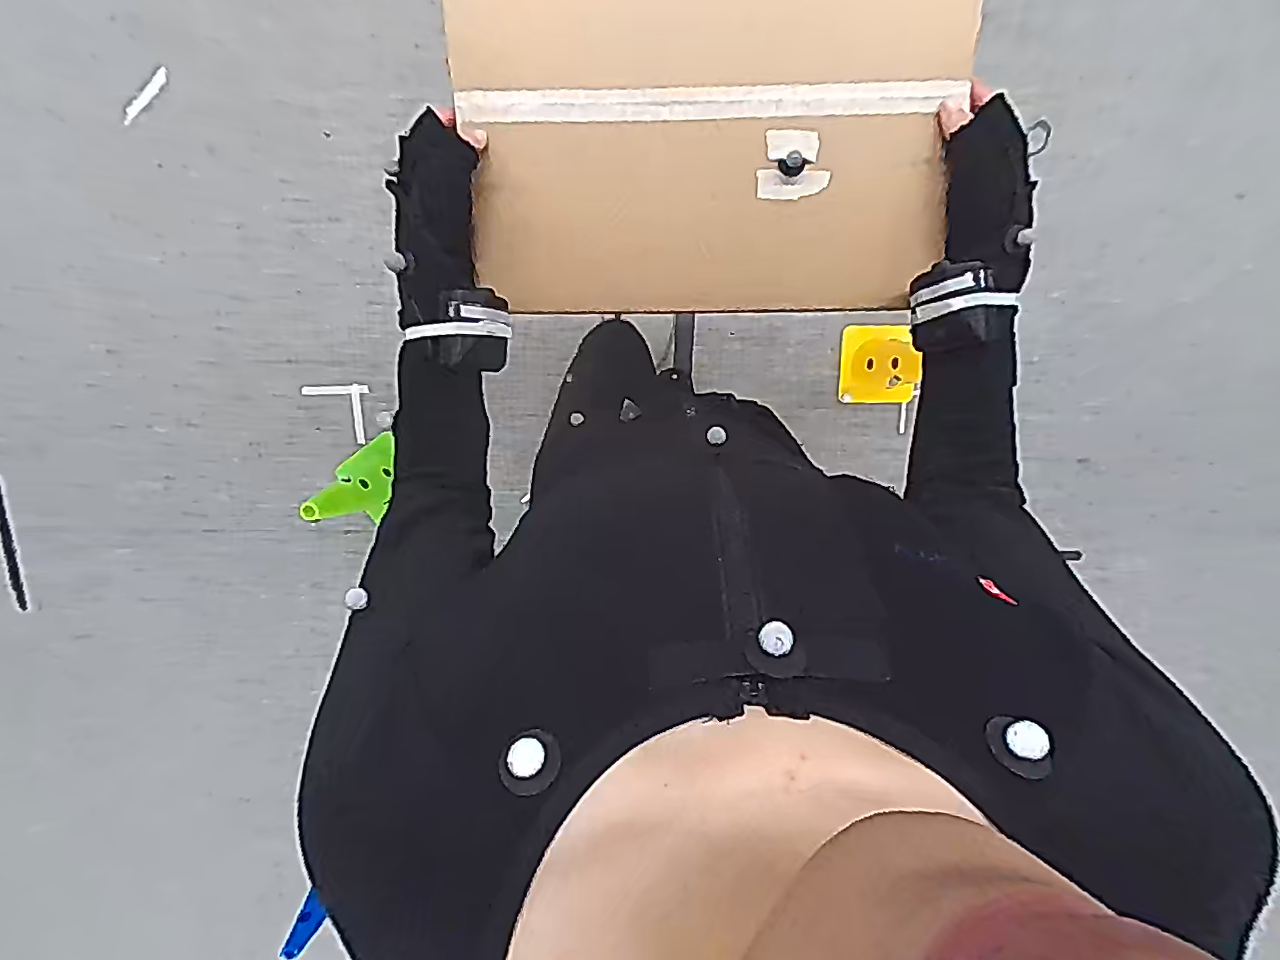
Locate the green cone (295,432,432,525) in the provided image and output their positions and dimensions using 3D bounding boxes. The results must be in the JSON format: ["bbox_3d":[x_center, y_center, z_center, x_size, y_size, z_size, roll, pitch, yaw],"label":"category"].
[{"bbox_3d":[-0.692,0.031,1.296,0.202,0.368,0.200,-36,98,7],"label":"green cone"}]

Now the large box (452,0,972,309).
[{"bbox_3d":[0.054,-0.351,0.575,0.408,0.320,0.320,-1,109,0],"label":"large box"}]
